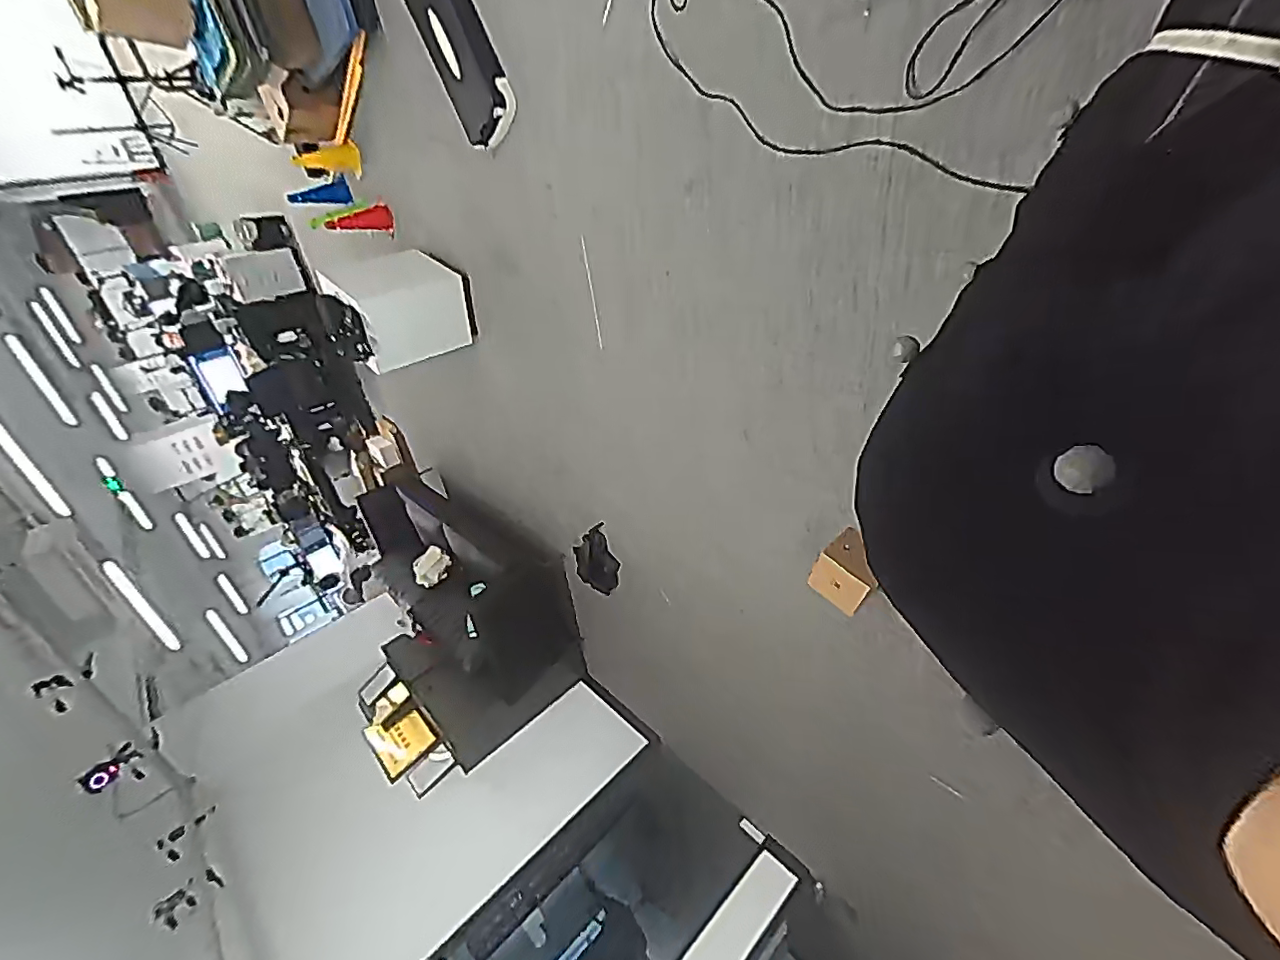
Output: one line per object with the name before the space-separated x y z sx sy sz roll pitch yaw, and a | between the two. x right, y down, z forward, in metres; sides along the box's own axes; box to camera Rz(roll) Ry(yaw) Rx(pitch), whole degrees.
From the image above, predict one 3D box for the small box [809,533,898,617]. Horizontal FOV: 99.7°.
small box | 0.678 0.294 1.723 0.179 0.176 0.168 38 142 29
